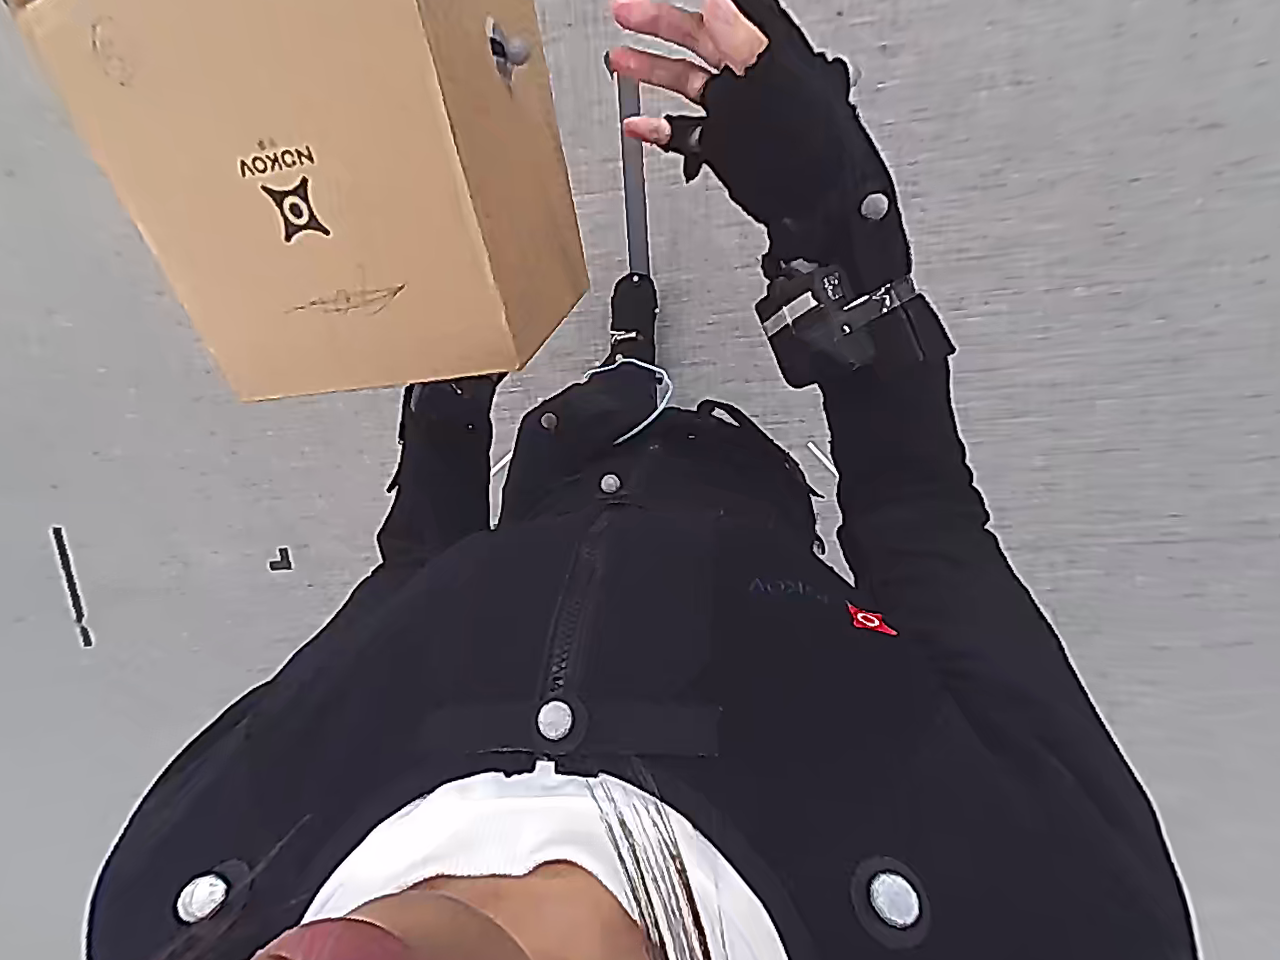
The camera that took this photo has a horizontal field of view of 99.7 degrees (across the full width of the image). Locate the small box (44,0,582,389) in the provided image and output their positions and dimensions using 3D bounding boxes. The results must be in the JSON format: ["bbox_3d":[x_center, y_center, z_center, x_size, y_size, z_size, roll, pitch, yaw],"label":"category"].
[{"bbox_3d":[-0.142,-0.170,0.315,0.168,0.176,0.179,-3,122,11],"label":"small box"}]
